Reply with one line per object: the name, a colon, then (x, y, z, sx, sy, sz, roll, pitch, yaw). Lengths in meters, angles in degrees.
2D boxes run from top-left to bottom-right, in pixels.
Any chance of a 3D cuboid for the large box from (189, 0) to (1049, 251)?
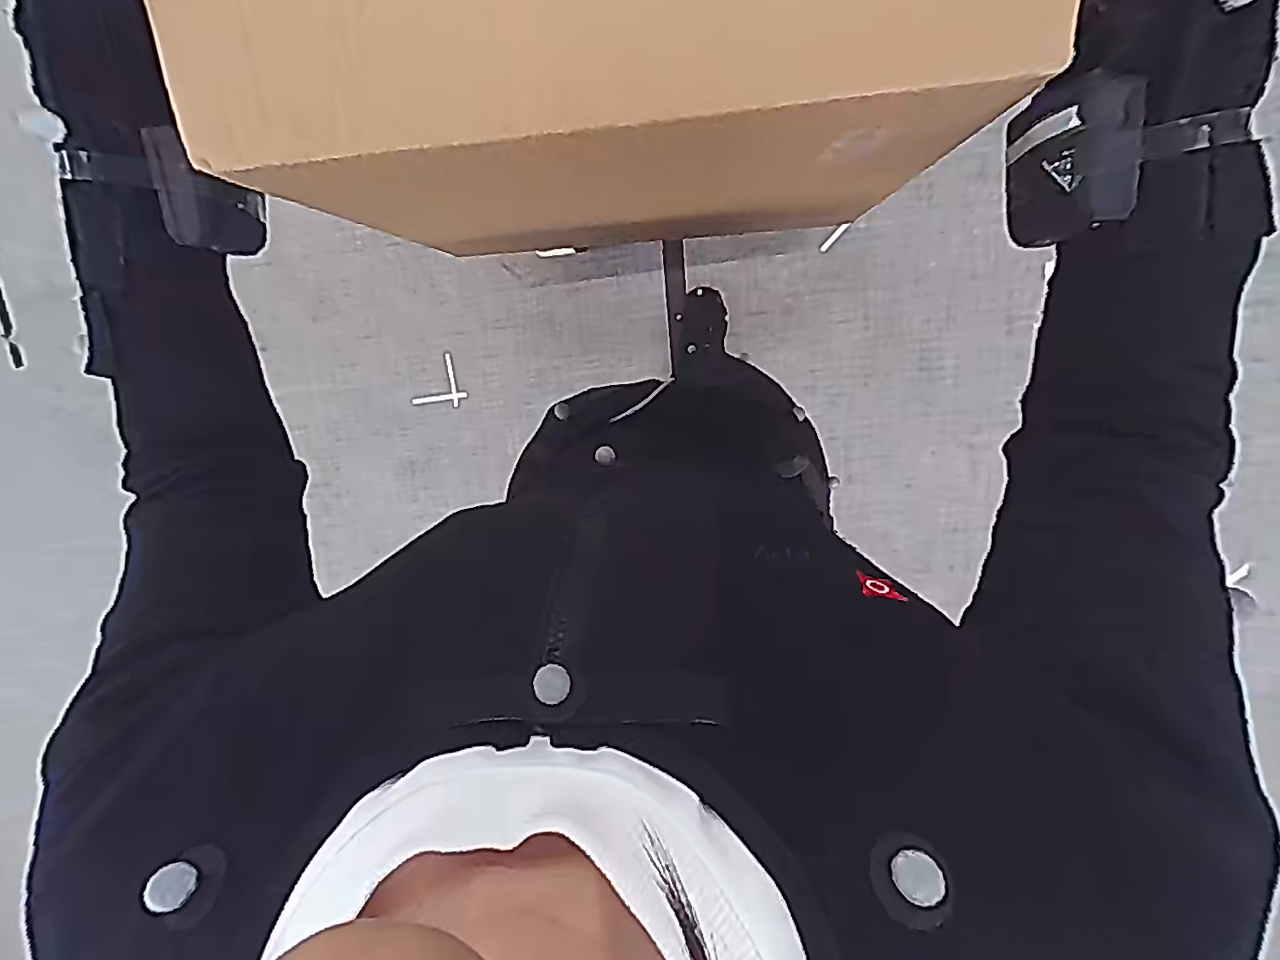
large box: (-0.018, -0.362, 0.368, 0.408, 0.320, 0.320, -3, 105, 6)
